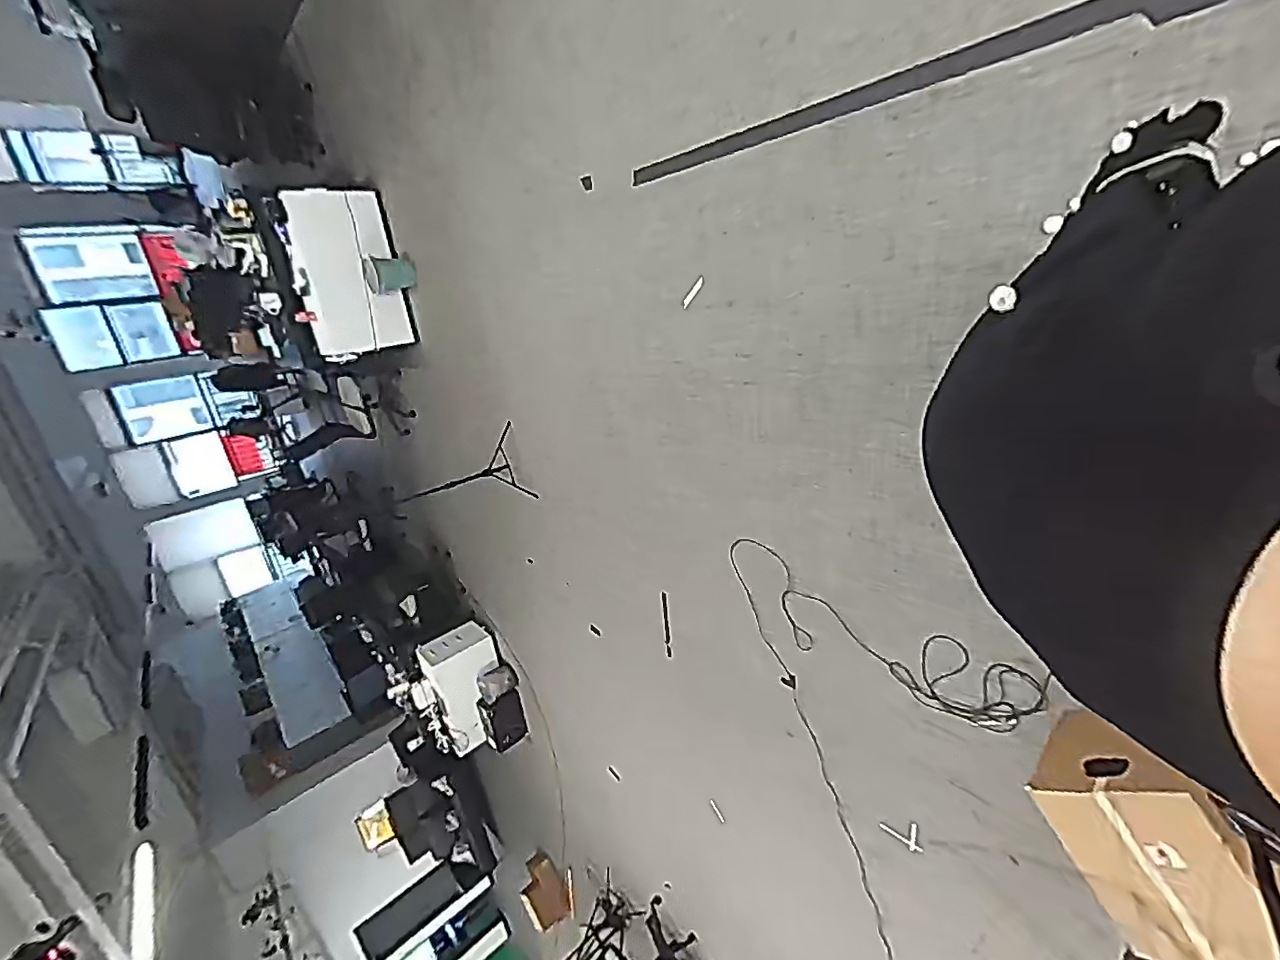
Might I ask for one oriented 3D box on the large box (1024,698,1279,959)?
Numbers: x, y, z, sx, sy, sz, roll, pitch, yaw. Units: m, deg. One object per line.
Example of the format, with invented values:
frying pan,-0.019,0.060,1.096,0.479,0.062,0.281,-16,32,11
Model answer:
large box,1.189,0.765,1.214,0.408,0.320,0.320,60,143,10
